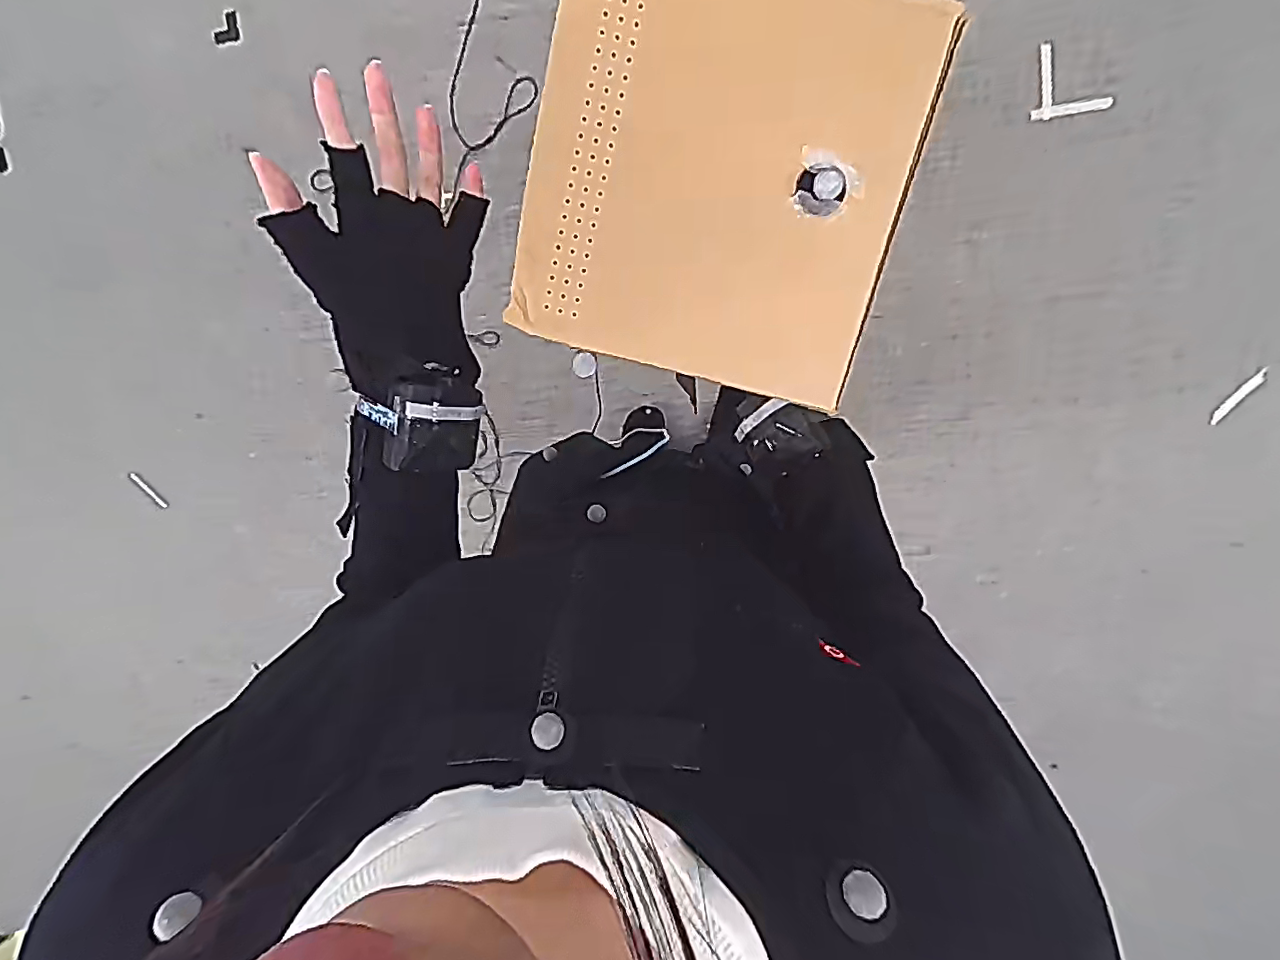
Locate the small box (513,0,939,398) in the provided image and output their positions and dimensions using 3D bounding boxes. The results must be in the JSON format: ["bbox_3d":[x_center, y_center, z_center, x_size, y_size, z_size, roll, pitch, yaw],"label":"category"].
[{"bbox_3d":[0.027,-0.158,0.322,0.176,0.168,0.179,12,103,-7],"label":"small box"}]
